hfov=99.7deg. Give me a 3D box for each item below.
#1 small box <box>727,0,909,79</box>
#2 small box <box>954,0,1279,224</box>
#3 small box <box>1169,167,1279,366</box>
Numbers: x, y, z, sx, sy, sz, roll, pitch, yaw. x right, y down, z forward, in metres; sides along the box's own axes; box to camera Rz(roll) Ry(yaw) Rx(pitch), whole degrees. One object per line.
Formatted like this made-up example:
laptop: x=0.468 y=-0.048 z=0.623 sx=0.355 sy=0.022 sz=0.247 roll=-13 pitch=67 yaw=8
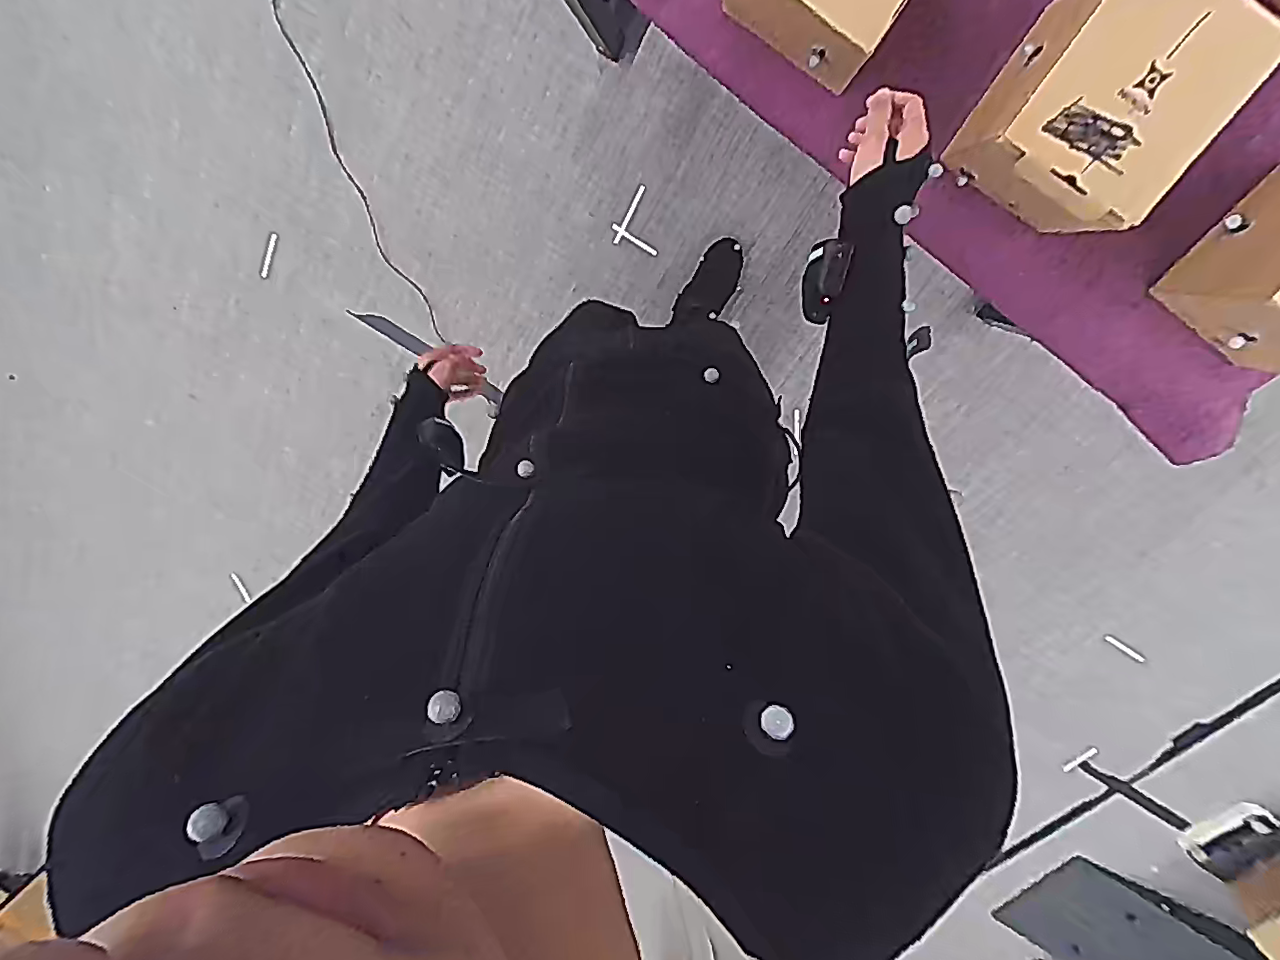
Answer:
small box: x=0.201 y=-0.543 z=0.540 sx=0.179 sy=0.176 sz=0.168 roll=32 pitch=114 yaw=-6
small box: x=0.467 y=-0.390 z=0.564 sx=0.168 sy=0.176 sz=0.179 roll=31 pitch=113 yaw=-5
small box: x=0.747 y=-0.231 z=0.587 sx=0.168 sy=0.176 sz=0.179 roll=35 pitch=112 yaw=-6
